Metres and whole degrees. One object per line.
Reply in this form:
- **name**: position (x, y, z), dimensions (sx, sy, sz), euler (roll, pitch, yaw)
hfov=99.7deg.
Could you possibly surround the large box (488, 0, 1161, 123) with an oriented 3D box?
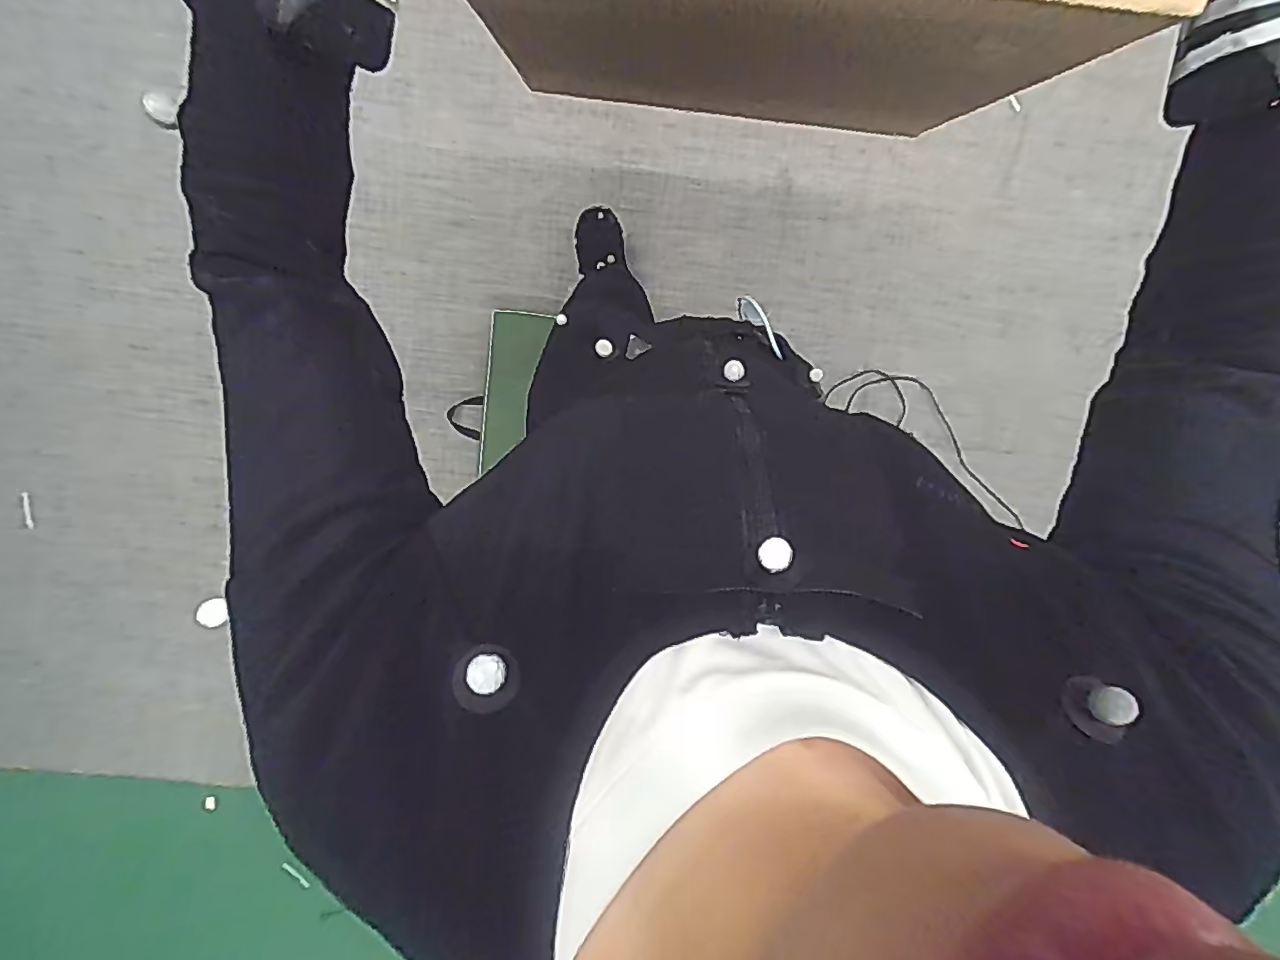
- **large box**: position (0.101, -0.466, 0.360), dimensions (0.408, 0.320, 0.320), euler (4, 113, -3)
